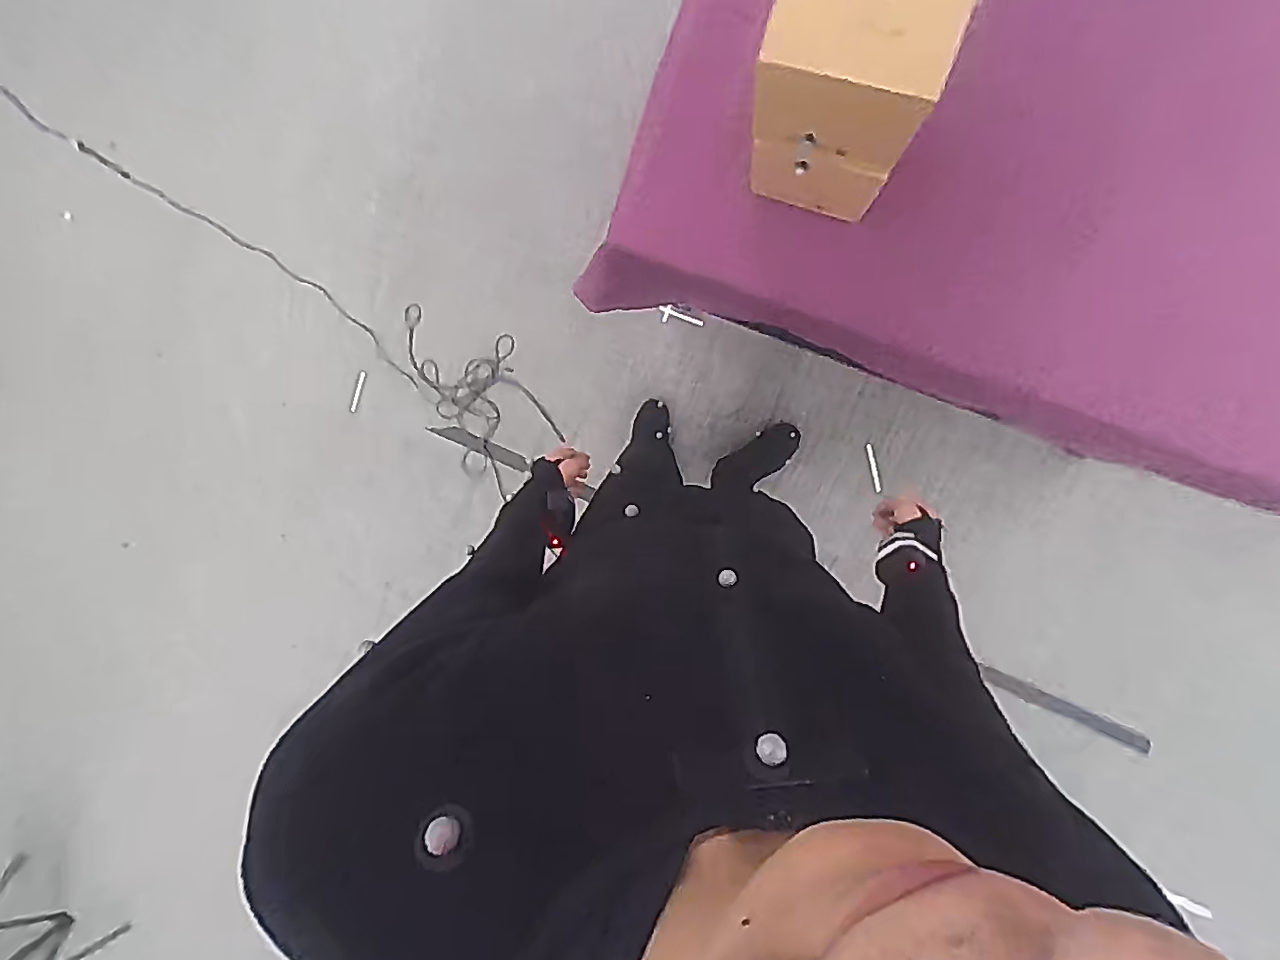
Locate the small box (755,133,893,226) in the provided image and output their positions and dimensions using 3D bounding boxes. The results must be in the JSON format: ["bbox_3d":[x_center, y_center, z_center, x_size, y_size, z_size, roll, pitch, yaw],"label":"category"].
[{"bbox_3d":[0.255,-0.467,0.707,0.168,0.176,0.179,21,101,7],"label":"small box"}]

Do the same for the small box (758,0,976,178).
[{"bbox_3d":[0.223,-0.446,0.548,0.168,0.176,0.179,19,101,7],"label":"small box"}]
